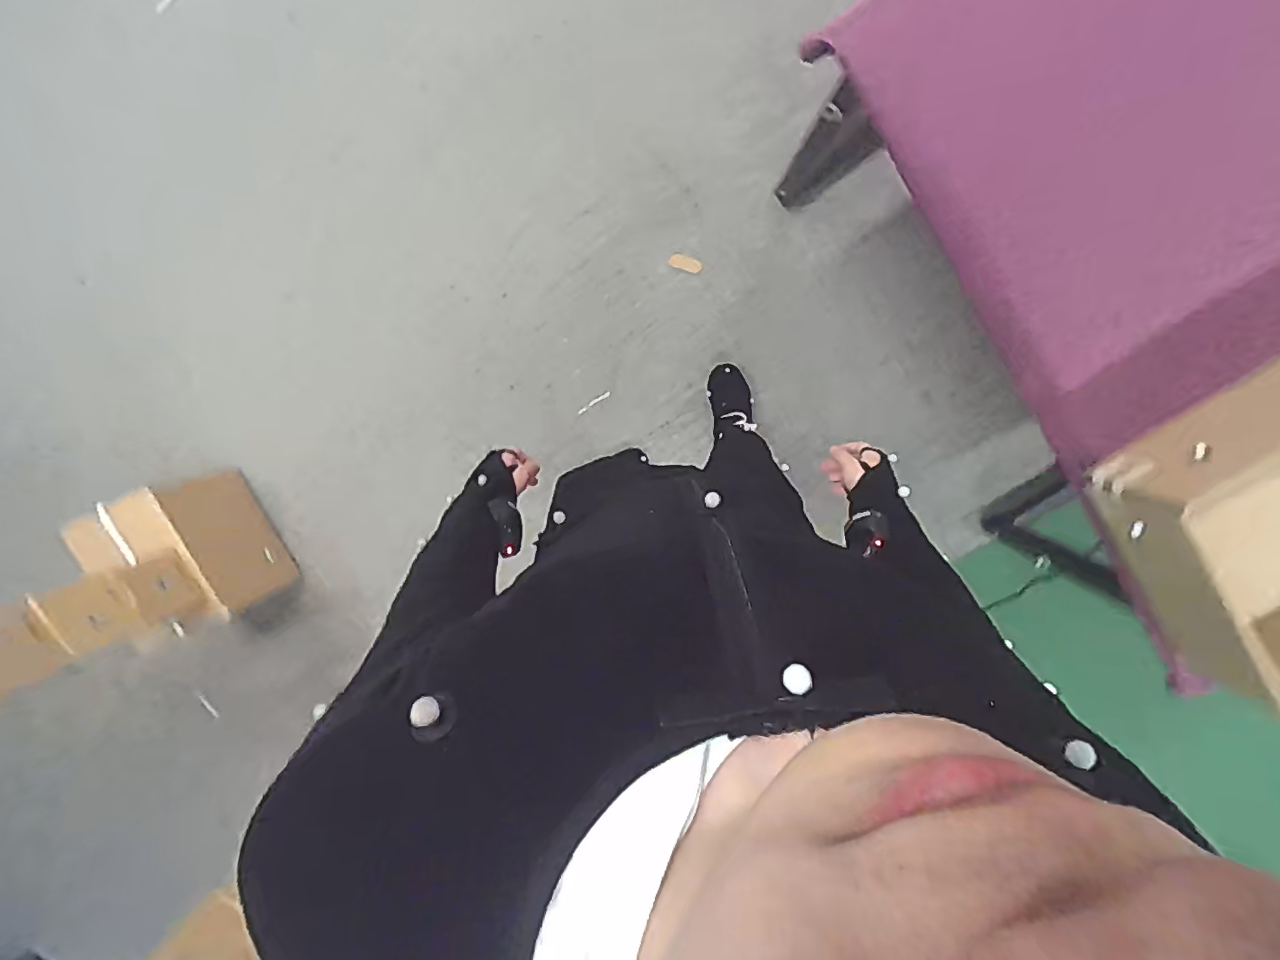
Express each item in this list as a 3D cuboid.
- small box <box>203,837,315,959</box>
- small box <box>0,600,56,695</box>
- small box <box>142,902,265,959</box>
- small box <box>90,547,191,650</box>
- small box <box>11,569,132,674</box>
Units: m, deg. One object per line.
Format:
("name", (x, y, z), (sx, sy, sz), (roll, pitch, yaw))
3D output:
("small box", (-0.958, 1.043, 1.346), (0.179, 0.176, 0.168), (32, 102, -3))
("small box", (-1.321, 0.362, 1.055), (0.179, 0.176, 0.168), (-27, 99, 9))
("small box", (-0.986, 1.083, 1.187), (0.179, 0.176, 0.168), (31, 103, -4))
("small box", (-1.300, 0.294, 1.373), (0.179, 0.176, 0.168), (-26, 99, 7))
("small box", (-1.309, 0.324, 1.214), (0.179, 0.176, 0.168), (-26, 100, 9))
